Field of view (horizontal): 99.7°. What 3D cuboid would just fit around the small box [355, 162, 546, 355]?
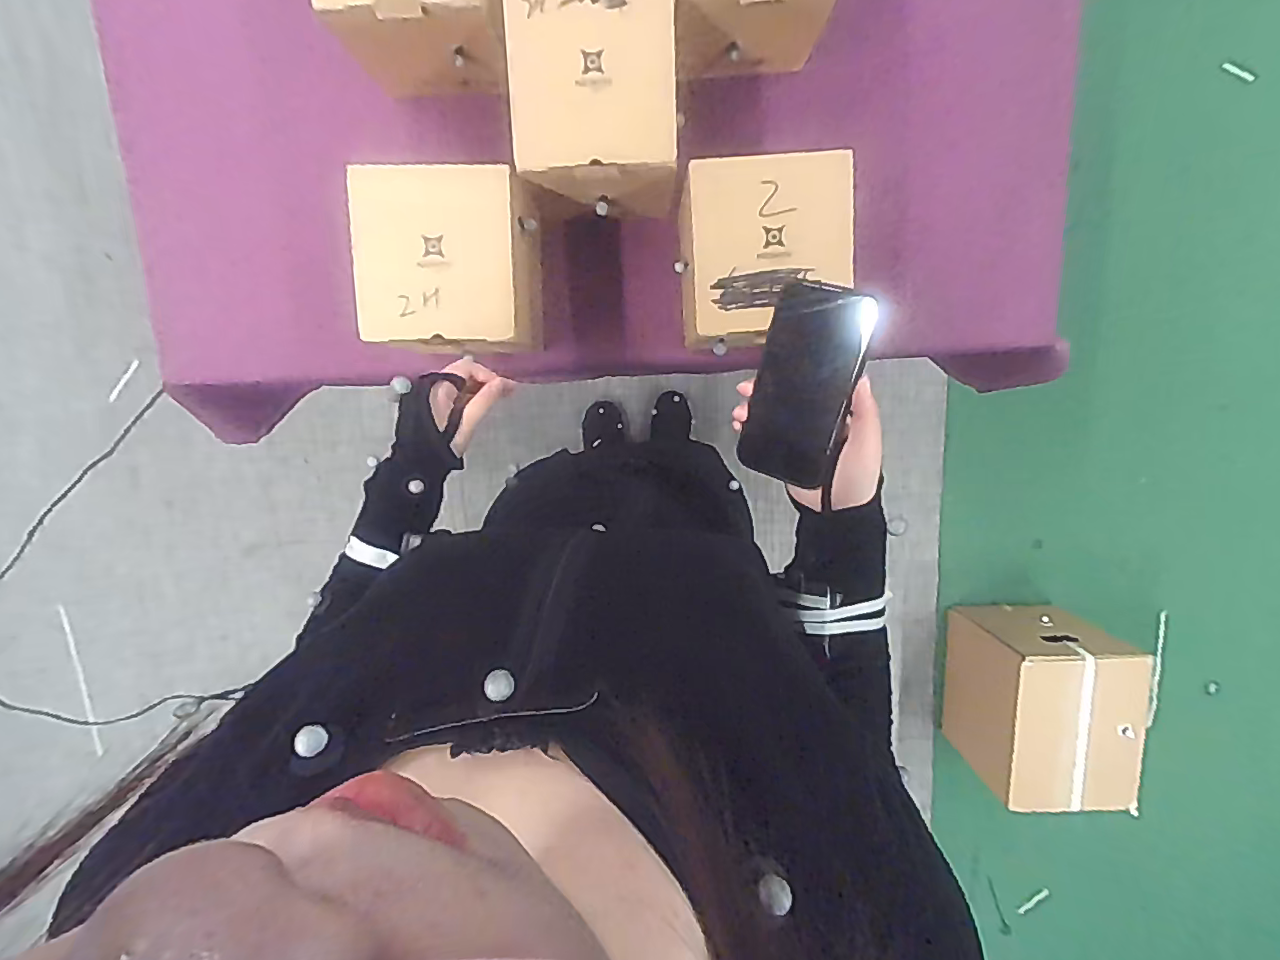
[{"bbox_3d":[-0.208,-0.244,0.635,0.168,0.176,0.179,1,99,1],"label":"small box"}]

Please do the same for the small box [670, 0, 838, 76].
[{"bbox_3d":[0.117,-0.578,0.578,0.168,0.176,0.179,-4,101,1],"label":"small box"}]

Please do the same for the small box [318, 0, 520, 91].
[{"bbox_3d":[-0.231,-0.552,0.584,0.168,0.176,0.179,-2,100,0],"label":"small box"}]
